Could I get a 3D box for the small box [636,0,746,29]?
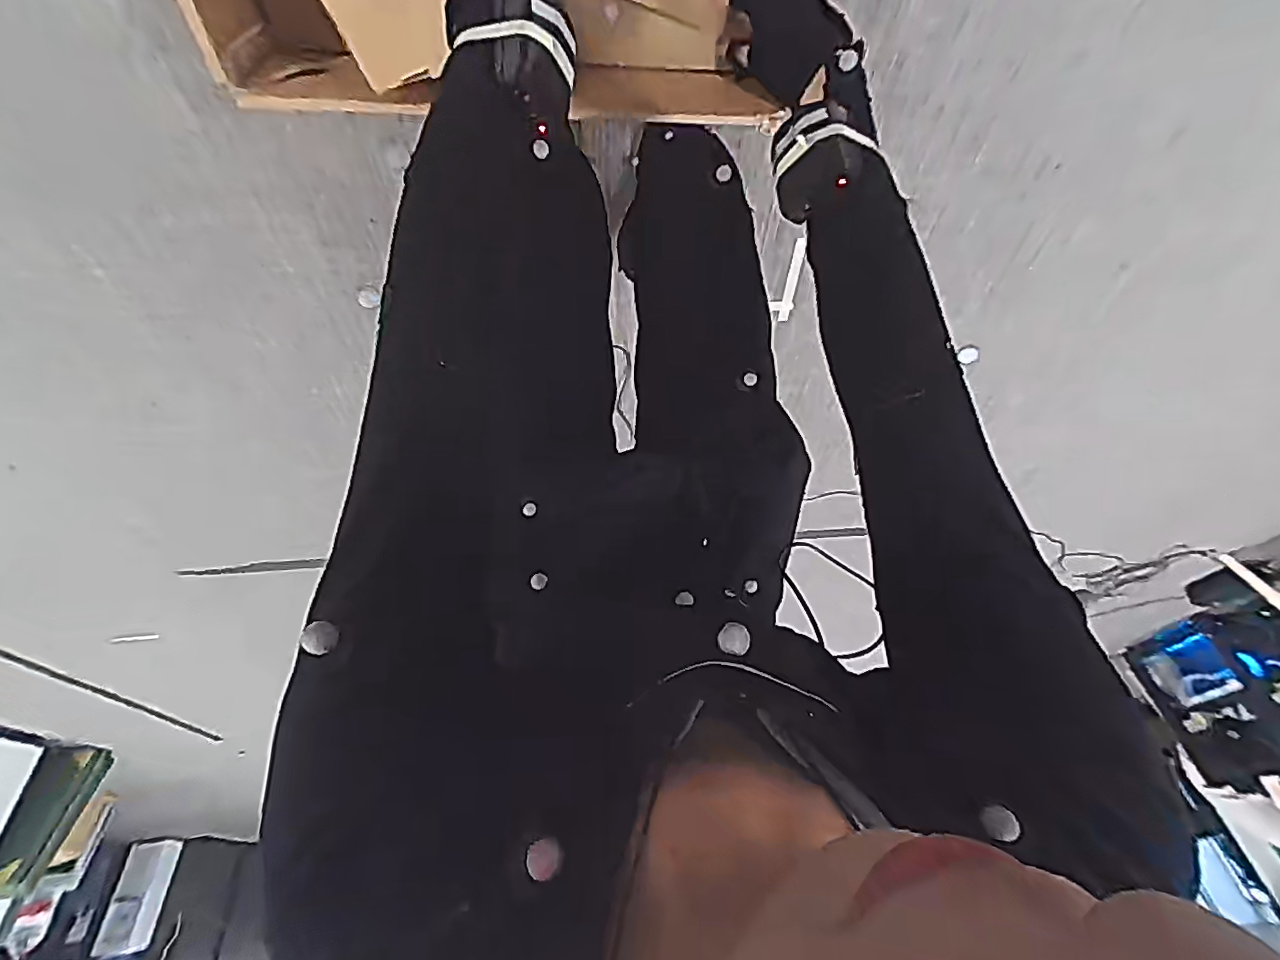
[{"bbox_3d":[0.020,-0.512,0.446,0.168,0.176,0.179,8,130,-15],"label":"small box"}]
